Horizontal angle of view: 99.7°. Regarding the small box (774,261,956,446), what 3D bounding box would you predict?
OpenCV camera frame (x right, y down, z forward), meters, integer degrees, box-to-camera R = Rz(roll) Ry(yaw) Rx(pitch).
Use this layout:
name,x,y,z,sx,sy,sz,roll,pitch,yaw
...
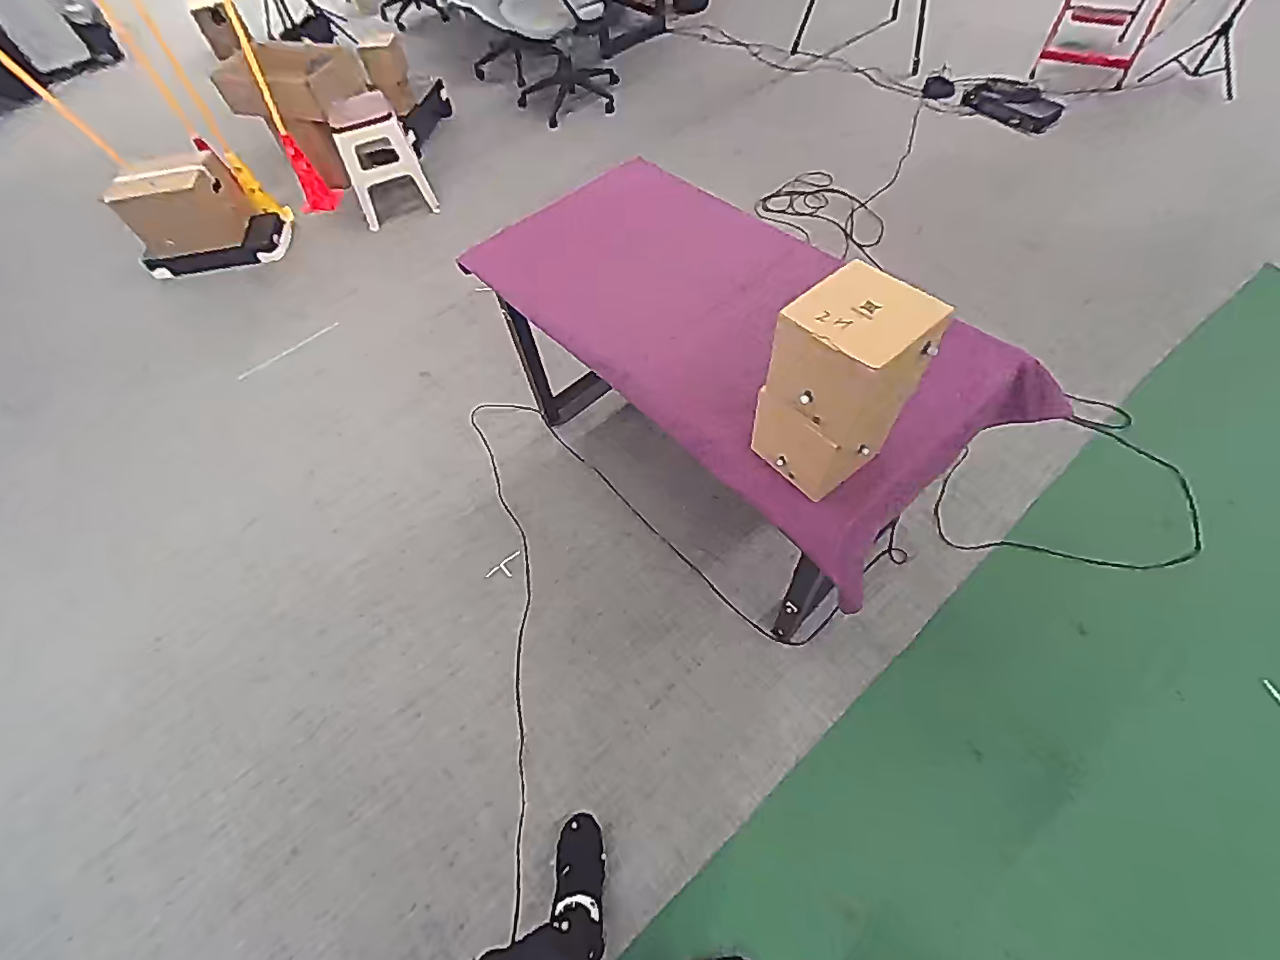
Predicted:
name,x,y,z,sx,sy,sz,roll,pitch,yaw
small box,0.322,-0.187,0.813,0.179,0.176,0.168,-36,60,-17
